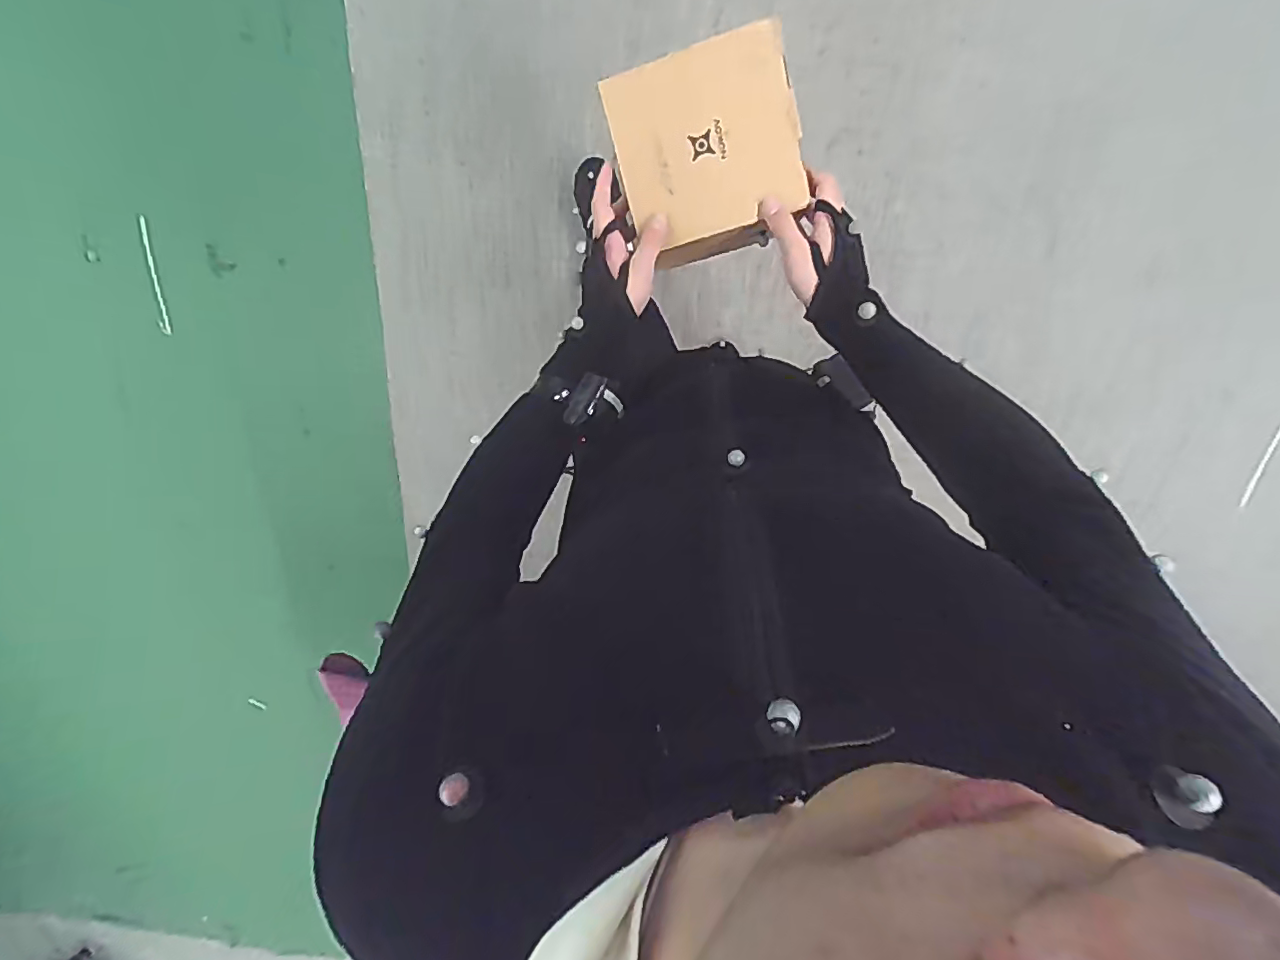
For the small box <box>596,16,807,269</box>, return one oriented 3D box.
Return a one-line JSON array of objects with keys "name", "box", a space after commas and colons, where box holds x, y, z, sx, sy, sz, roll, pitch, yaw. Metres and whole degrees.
[{"name": "small box", "box": [0.069, -0.341, 0.588, 0.179, 0.176, 0.168, -12, 103, 12]}]
